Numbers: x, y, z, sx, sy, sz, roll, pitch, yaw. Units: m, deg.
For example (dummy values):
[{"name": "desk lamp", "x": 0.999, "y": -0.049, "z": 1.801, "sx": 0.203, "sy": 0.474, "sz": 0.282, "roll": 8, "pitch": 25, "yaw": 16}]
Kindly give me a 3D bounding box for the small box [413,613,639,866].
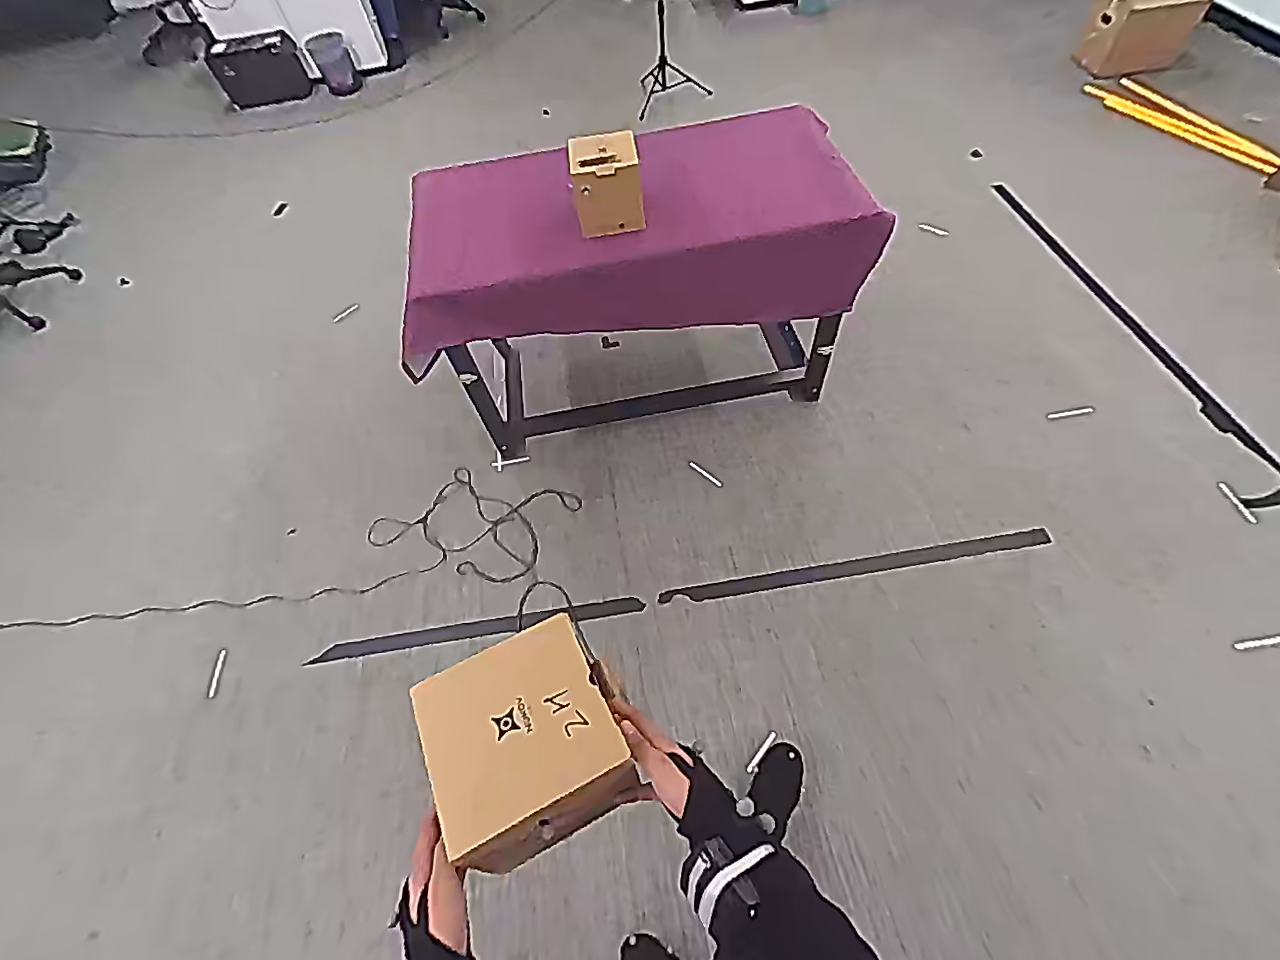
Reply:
[{"name": "small box", "x": -0.114, "y": 0.282, "z": 0.584, "sx": 0.179, "sy": 0.176, "sz": 0.168, "roll": -23, "pitch": 52, "yaw": -15}]
